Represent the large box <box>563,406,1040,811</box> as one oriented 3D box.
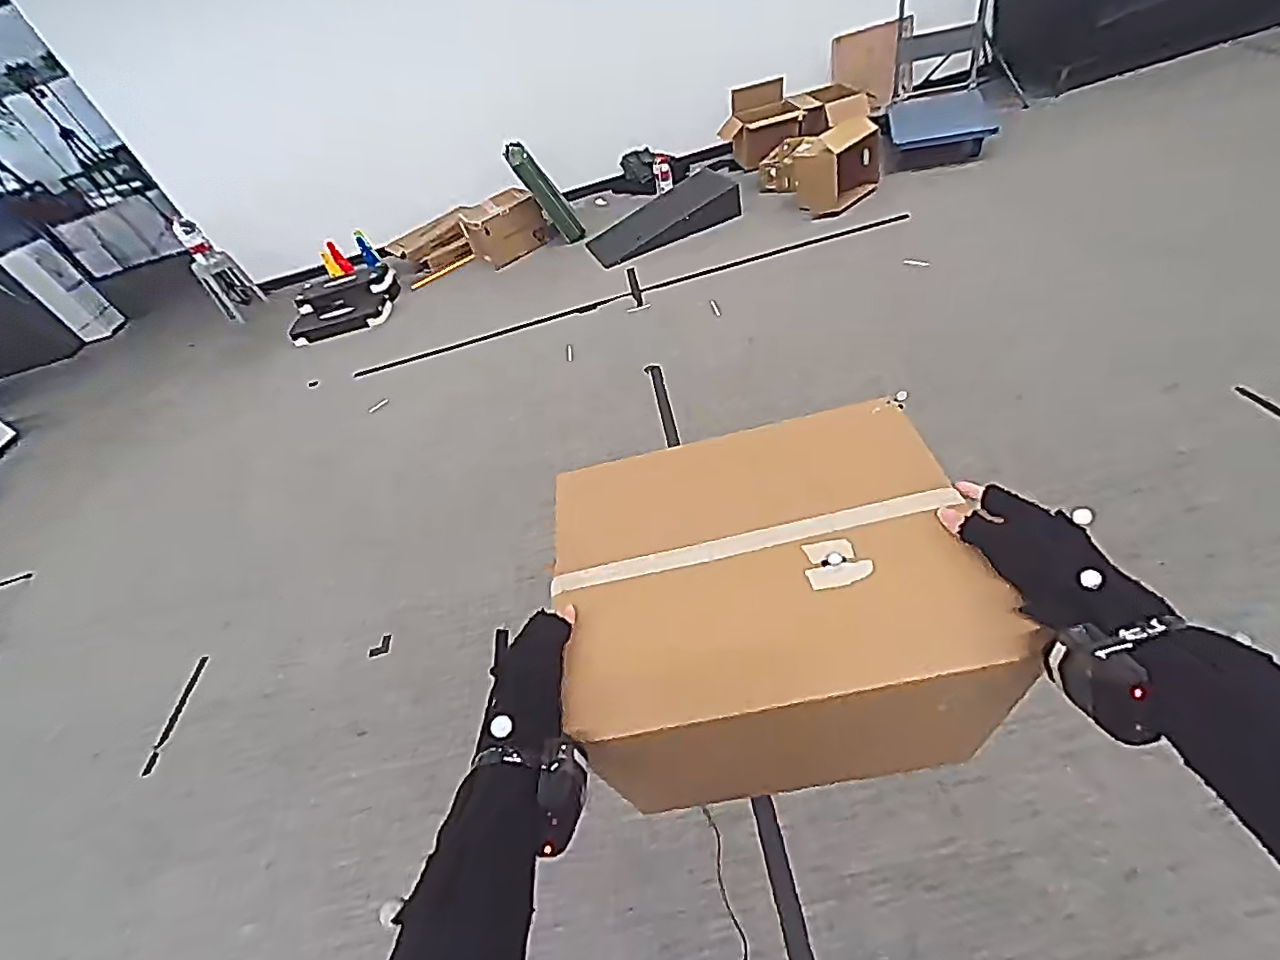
[{"bbox_3d":[0.145,0.165,0.657,0.408,0.320,0.320,-13,48,4],"label":"large box"}]
